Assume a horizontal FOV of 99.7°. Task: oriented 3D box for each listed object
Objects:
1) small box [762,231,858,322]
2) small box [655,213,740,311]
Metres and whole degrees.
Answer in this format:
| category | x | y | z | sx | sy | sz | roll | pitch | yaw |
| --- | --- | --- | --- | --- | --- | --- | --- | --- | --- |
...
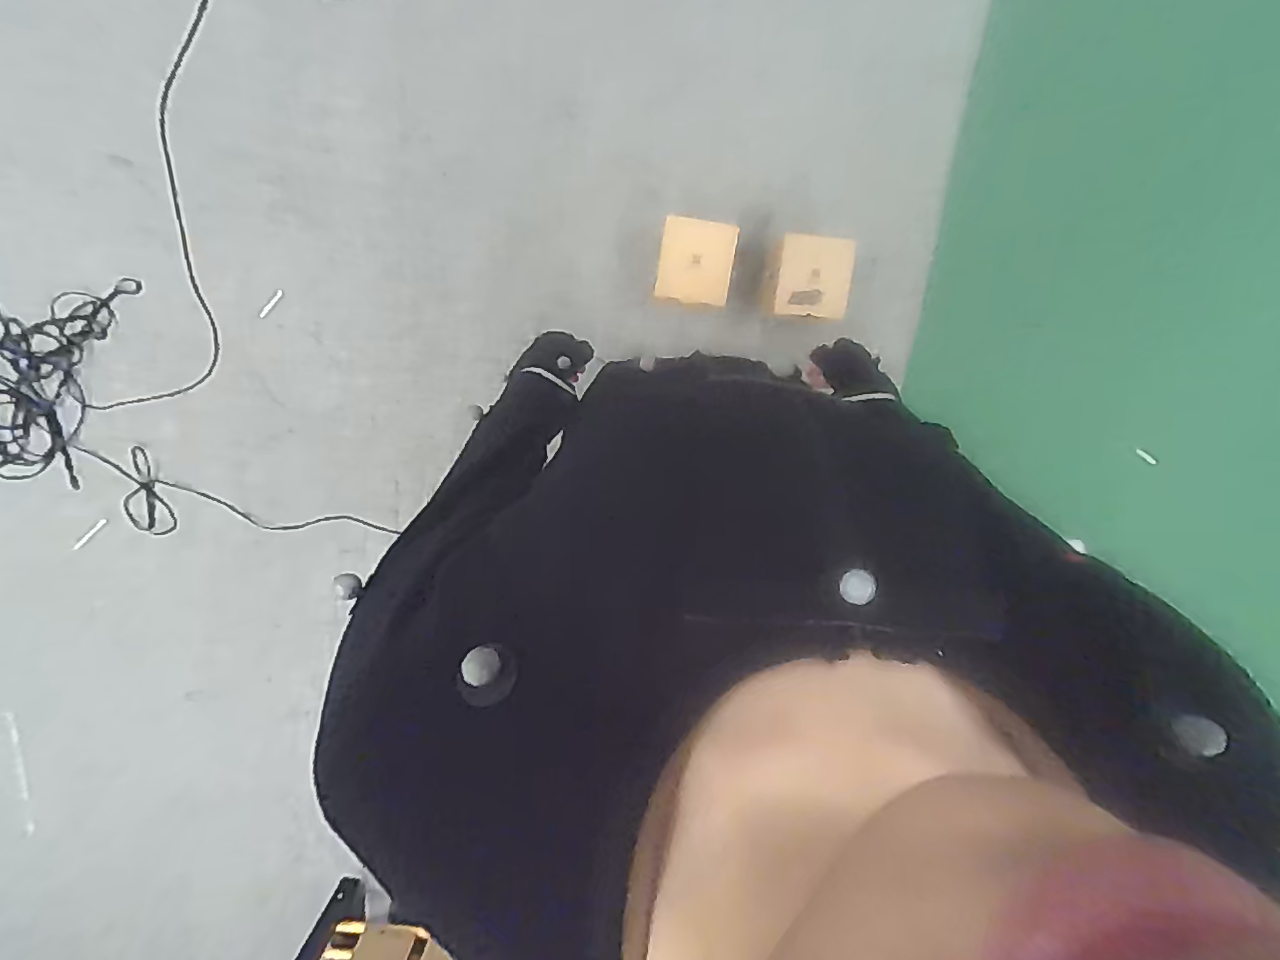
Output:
| category | x | y | z | sx | sy | sz | roll | pitch | yaw |
| --- | --- | --- | --- | --- | --- | --- | --- | --- | --- |
| small box | 0.396 | -0.477 | 1.290 | 0.168 | 0.176 | 0.179 | 5 | 102 | 0 |
| small box | 0.129 | -0.510 | 1.287 | 0.168 | 0.176 | 0.179 | 9 | 104 | -1 |
